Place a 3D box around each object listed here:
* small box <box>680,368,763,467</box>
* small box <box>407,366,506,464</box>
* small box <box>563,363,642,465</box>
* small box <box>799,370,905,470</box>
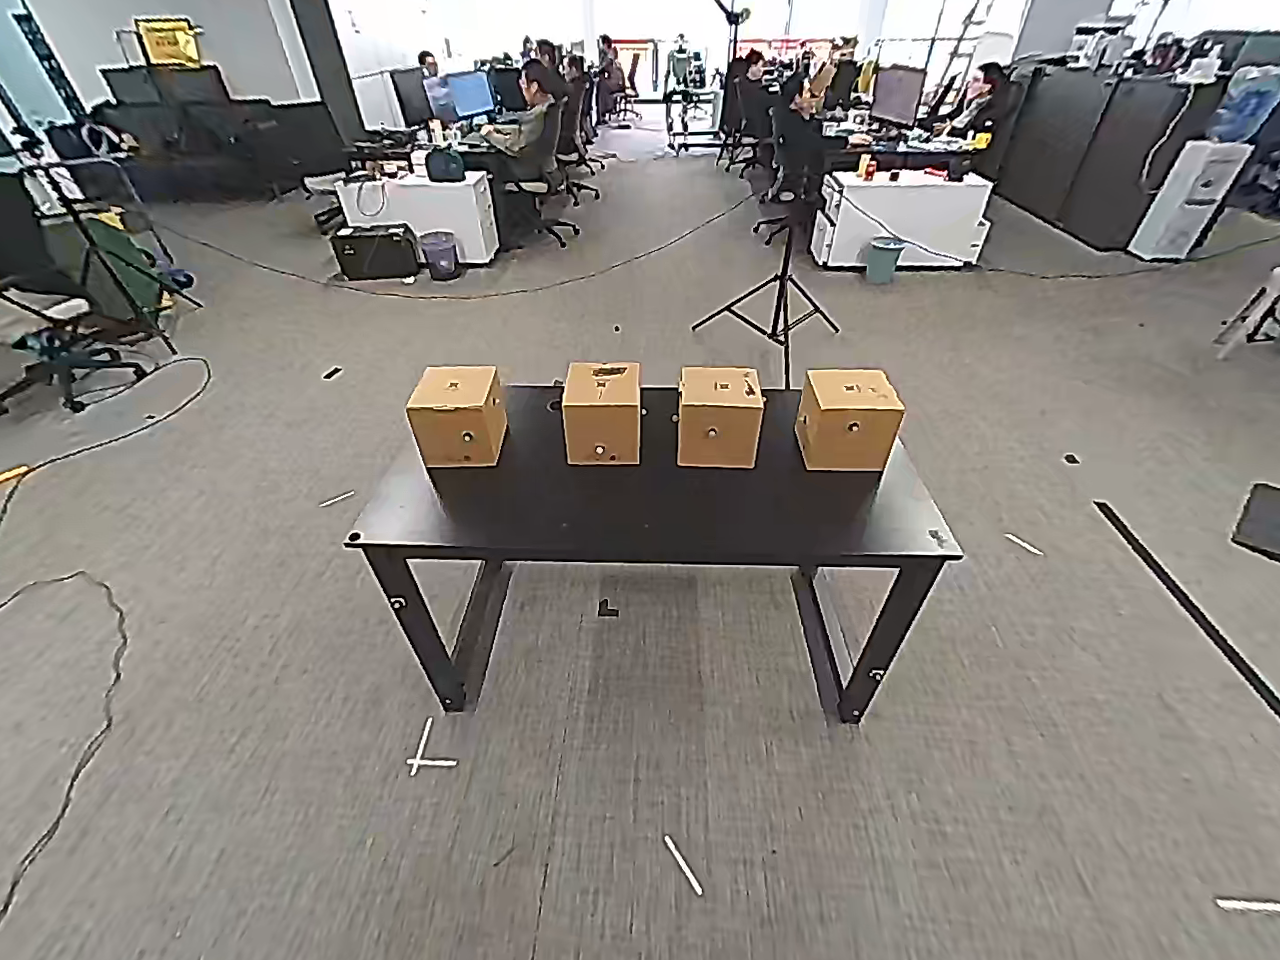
[{"bbox_3d":[0.179,-0.144,1.241,0.179,0.176,0.168,1,41,3],"label":"small box"},{"bbox_3d":[-0.413,-0.148,1.251,0.168,0.176,0.179,-1,40,-2],"label":"small box"},{"bbox_3d":[-0.080,-0.154,1.254,0.168,0.176,0.179,0,42,1],"label":"small box"},{"bbox_3d":[0.467,-0.136,1.225,0.179,0.176,0.168,1,41,3],"label":"small box"}]
